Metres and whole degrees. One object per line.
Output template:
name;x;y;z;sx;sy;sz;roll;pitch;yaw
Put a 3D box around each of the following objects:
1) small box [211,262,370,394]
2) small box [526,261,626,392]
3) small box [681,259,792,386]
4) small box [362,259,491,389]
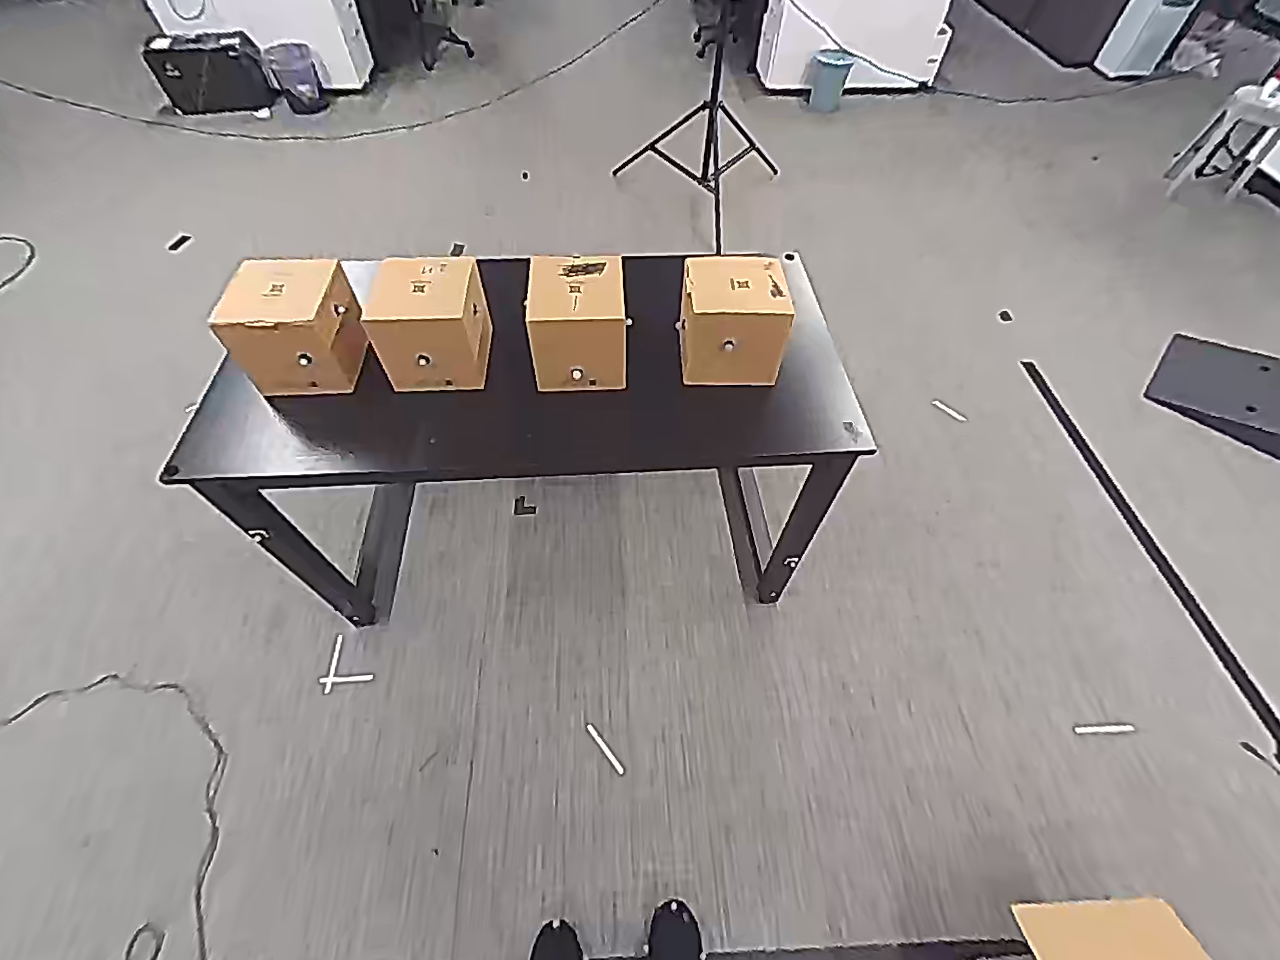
small box;-0.616;-0.270;0.983;0.168;0.176;0.179;-2;54;-4
small box;-0.112;-0.282;1.001;0.168;0.176;0.179;-2;55;-3
small box;0.169;-0.291;1.013;0.179;0.176;0.168;-1;55;0
small box;-0.377;-0.280;0.993;0.168;0.176;0.179;-2;55;-3
